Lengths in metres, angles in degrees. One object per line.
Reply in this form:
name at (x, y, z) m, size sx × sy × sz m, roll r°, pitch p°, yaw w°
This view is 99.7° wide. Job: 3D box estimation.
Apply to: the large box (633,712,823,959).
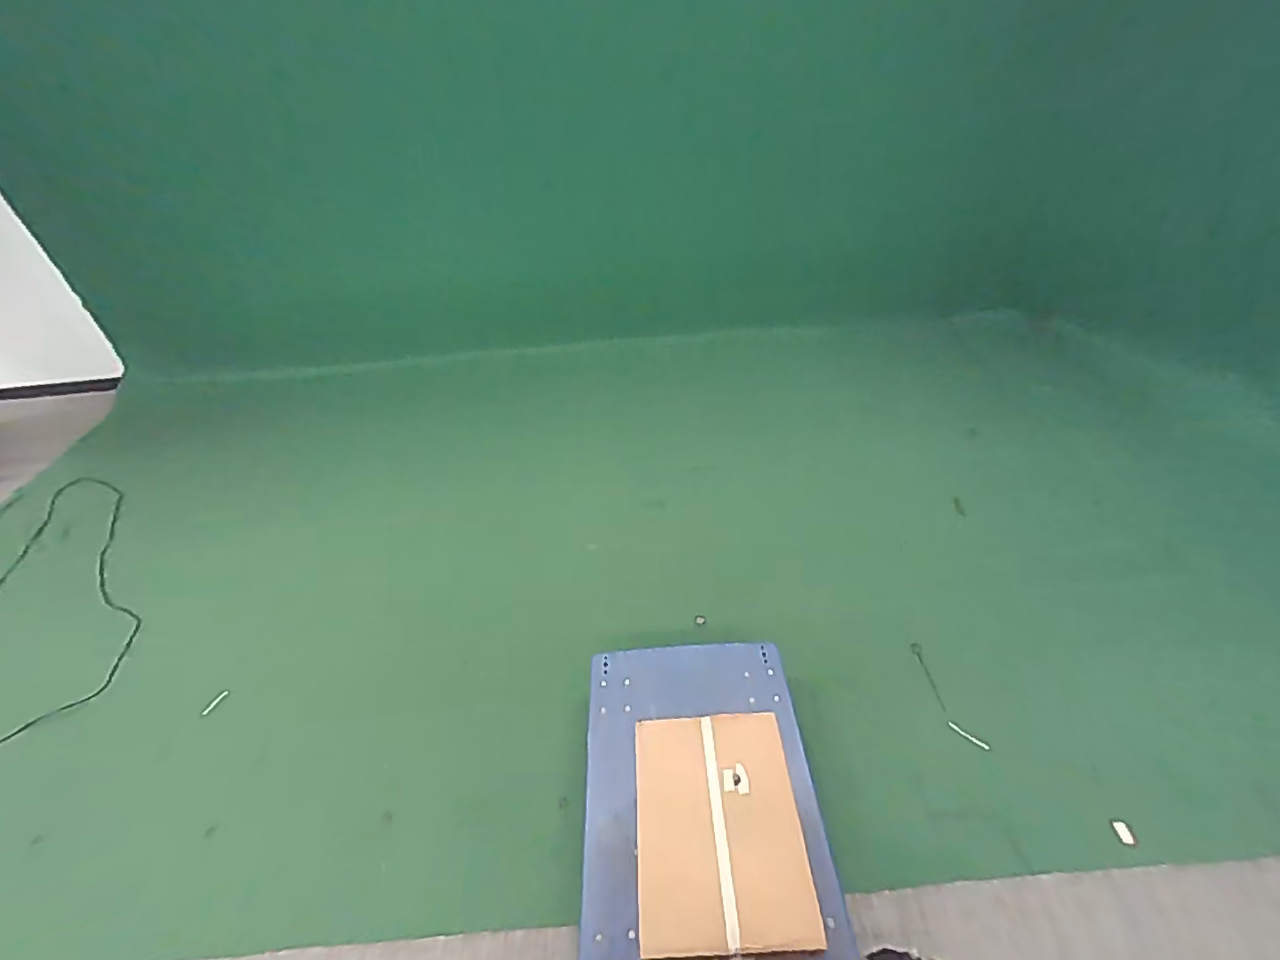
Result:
large box at (0.159, 0.770, 1.147) m, size 0.320 × 0.320 × 0.408 m, roll -4°, pitch 40°, yaw 1°
